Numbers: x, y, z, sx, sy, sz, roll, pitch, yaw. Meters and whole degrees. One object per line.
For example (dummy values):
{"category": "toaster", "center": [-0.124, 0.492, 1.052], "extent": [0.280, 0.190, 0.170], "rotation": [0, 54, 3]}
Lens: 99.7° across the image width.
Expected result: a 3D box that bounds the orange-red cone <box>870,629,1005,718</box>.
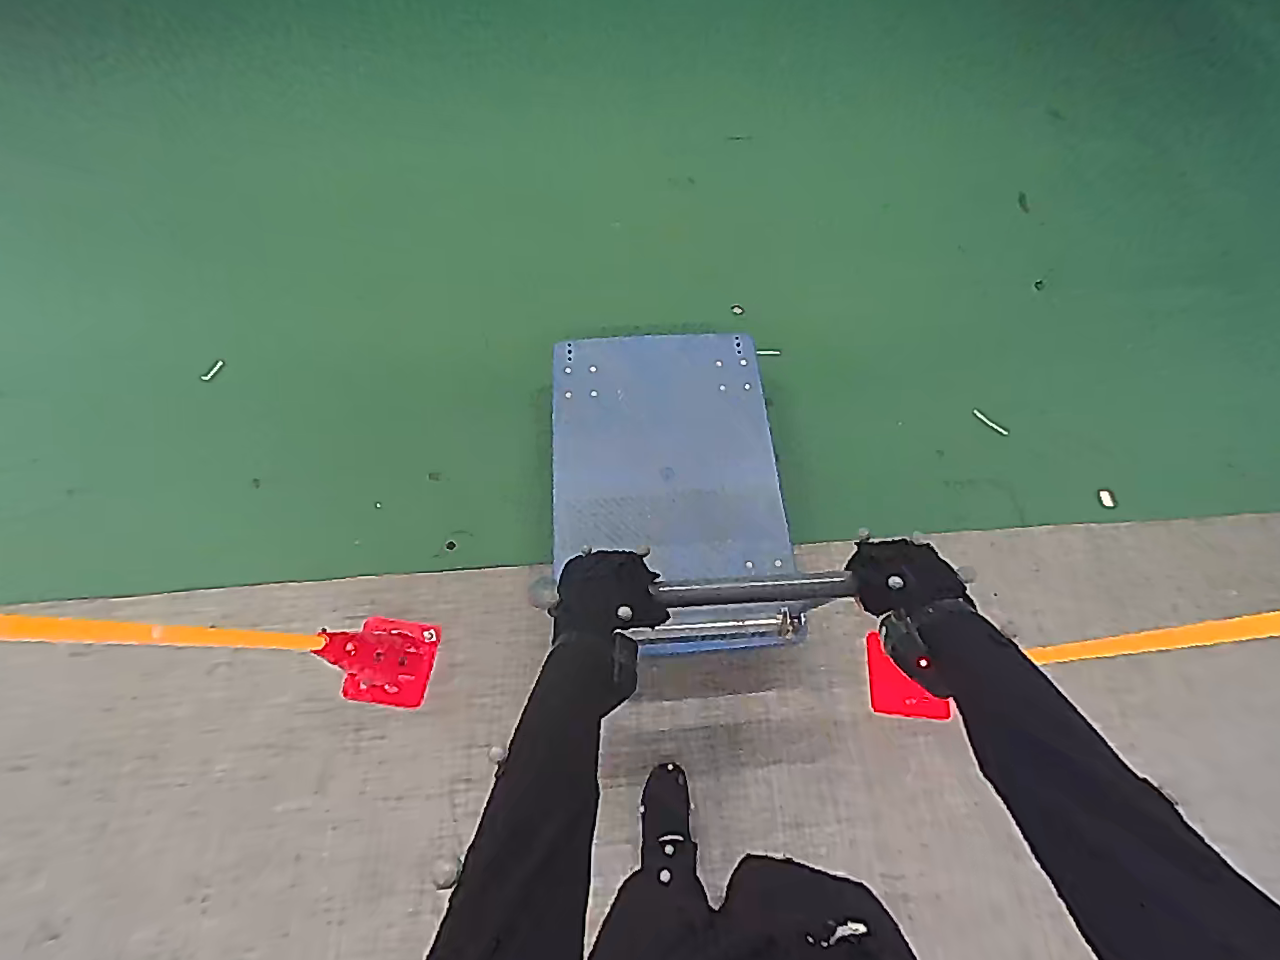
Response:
{"category": "orange-red cone", "center": [0.683, 0.416, 1.201], "extent": [0.198, 0.360, 0.199], "rotation": [6, 67, 2]}
